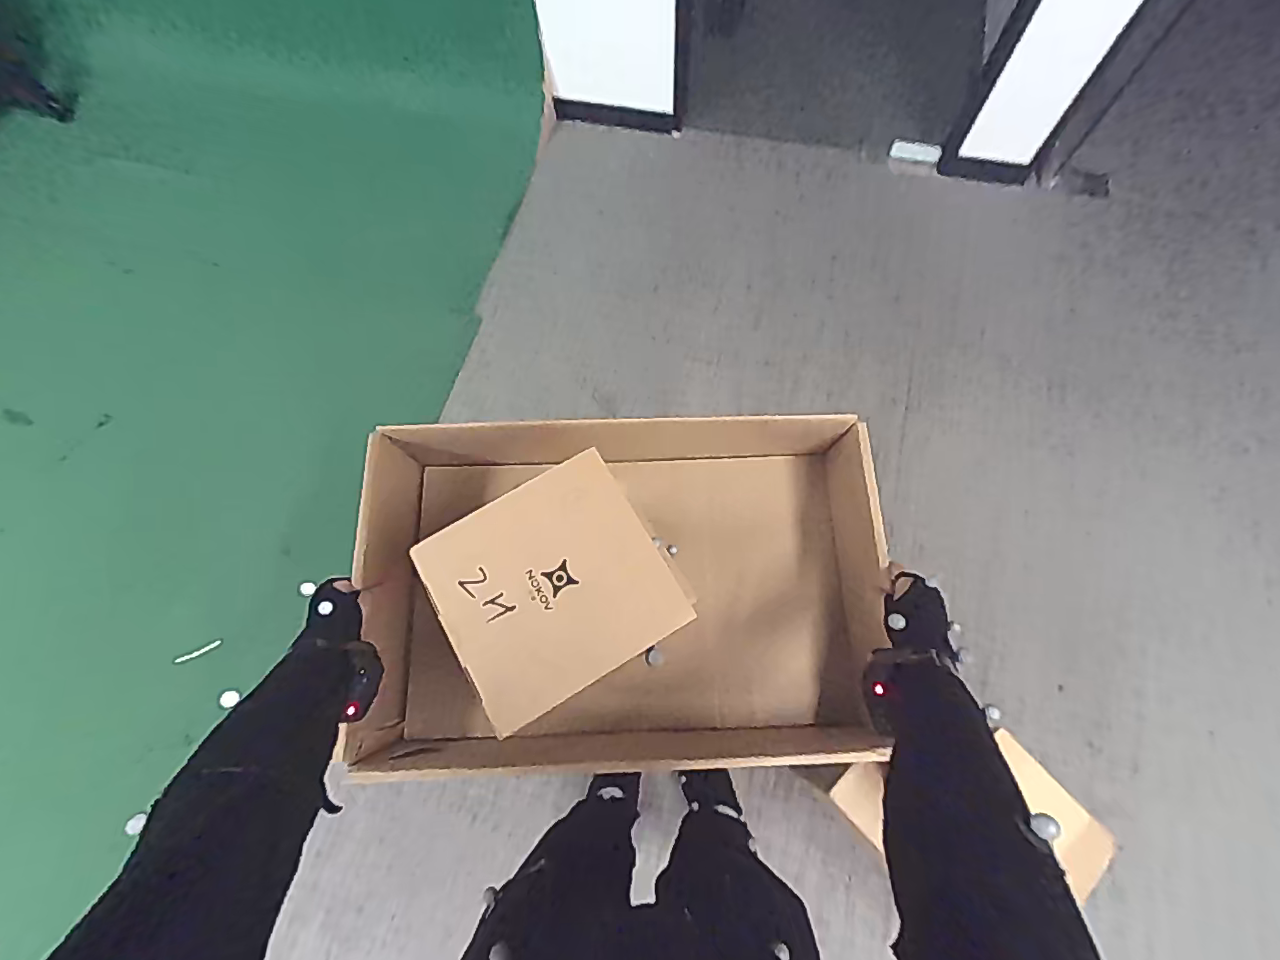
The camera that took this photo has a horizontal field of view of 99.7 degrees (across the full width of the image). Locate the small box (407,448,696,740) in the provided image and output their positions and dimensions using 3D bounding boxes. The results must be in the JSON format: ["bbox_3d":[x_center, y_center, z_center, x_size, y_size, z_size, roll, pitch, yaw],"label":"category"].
[{"bbox_3d":[-0.070,0.101,0.495,0.179,0.176,0.168,-30,75,-8],"label":"small box"}]

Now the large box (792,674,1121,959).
[{"bbox_3d":[0.586,0.650,1.085,0.320,0.320,0.408,-43,74,-13],"label":"large box"}]
